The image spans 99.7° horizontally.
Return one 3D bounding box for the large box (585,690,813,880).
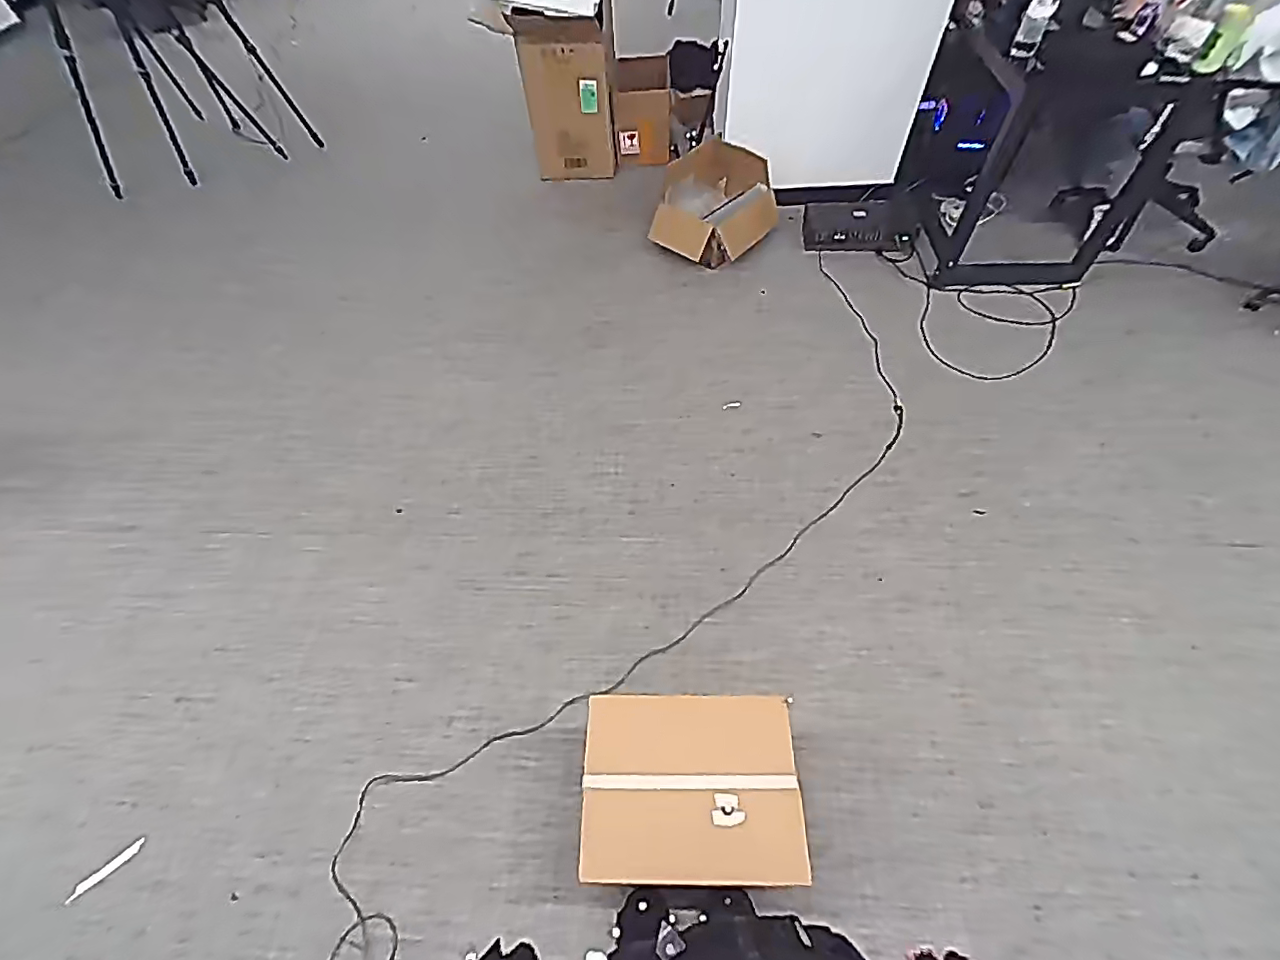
[{"bbox_3d":[0.104,0.642,1.136,0.408,0.320,0.320,-1,55,2],"label":"large box"}]
